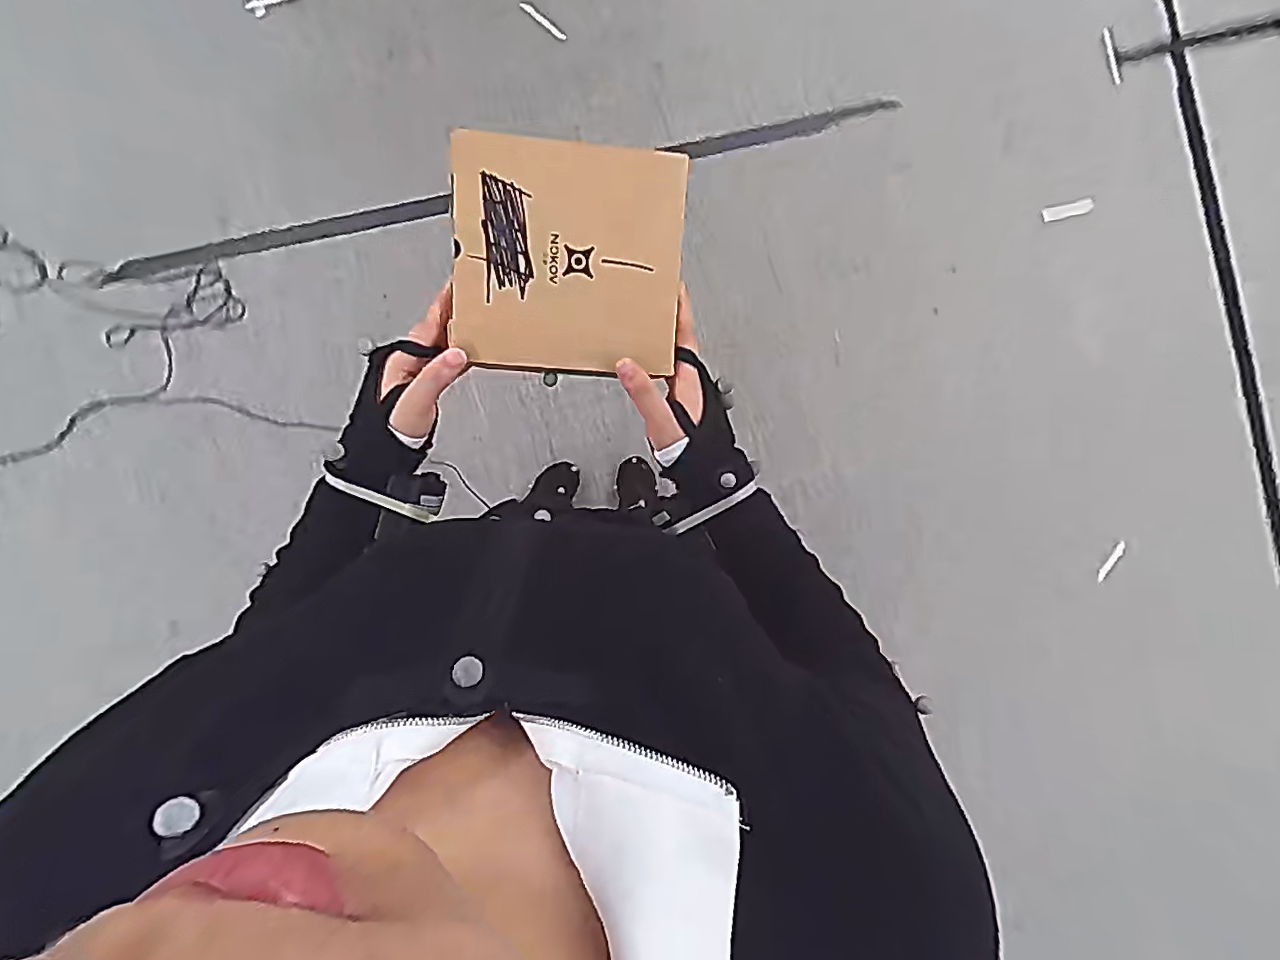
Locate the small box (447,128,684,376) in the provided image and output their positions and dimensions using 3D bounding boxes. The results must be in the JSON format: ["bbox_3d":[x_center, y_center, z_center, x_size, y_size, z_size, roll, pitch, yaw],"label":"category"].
[{"bbox_3d":[-0.064,-0.184,0.491,0.179,0.176,0.168,2,99,-6],"label":"small box"}]
